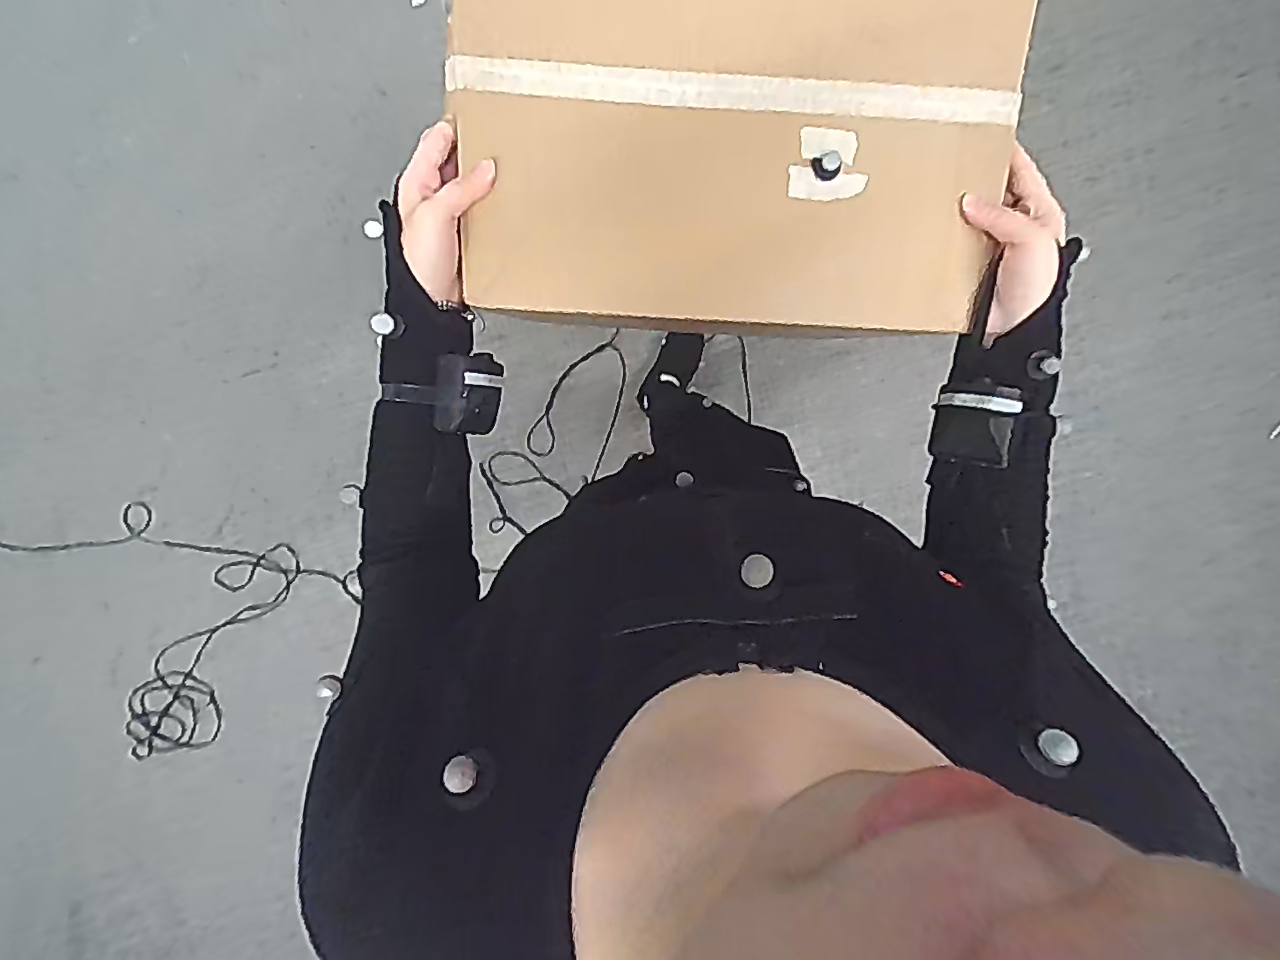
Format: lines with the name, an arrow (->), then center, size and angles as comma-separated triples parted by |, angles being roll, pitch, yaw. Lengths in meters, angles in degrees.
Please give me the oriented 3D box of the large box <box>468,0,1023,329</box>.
large box -> 0.067, -0.322, 0.541 | 0.408, 0.320, 0.320 | 2, 104, -4
